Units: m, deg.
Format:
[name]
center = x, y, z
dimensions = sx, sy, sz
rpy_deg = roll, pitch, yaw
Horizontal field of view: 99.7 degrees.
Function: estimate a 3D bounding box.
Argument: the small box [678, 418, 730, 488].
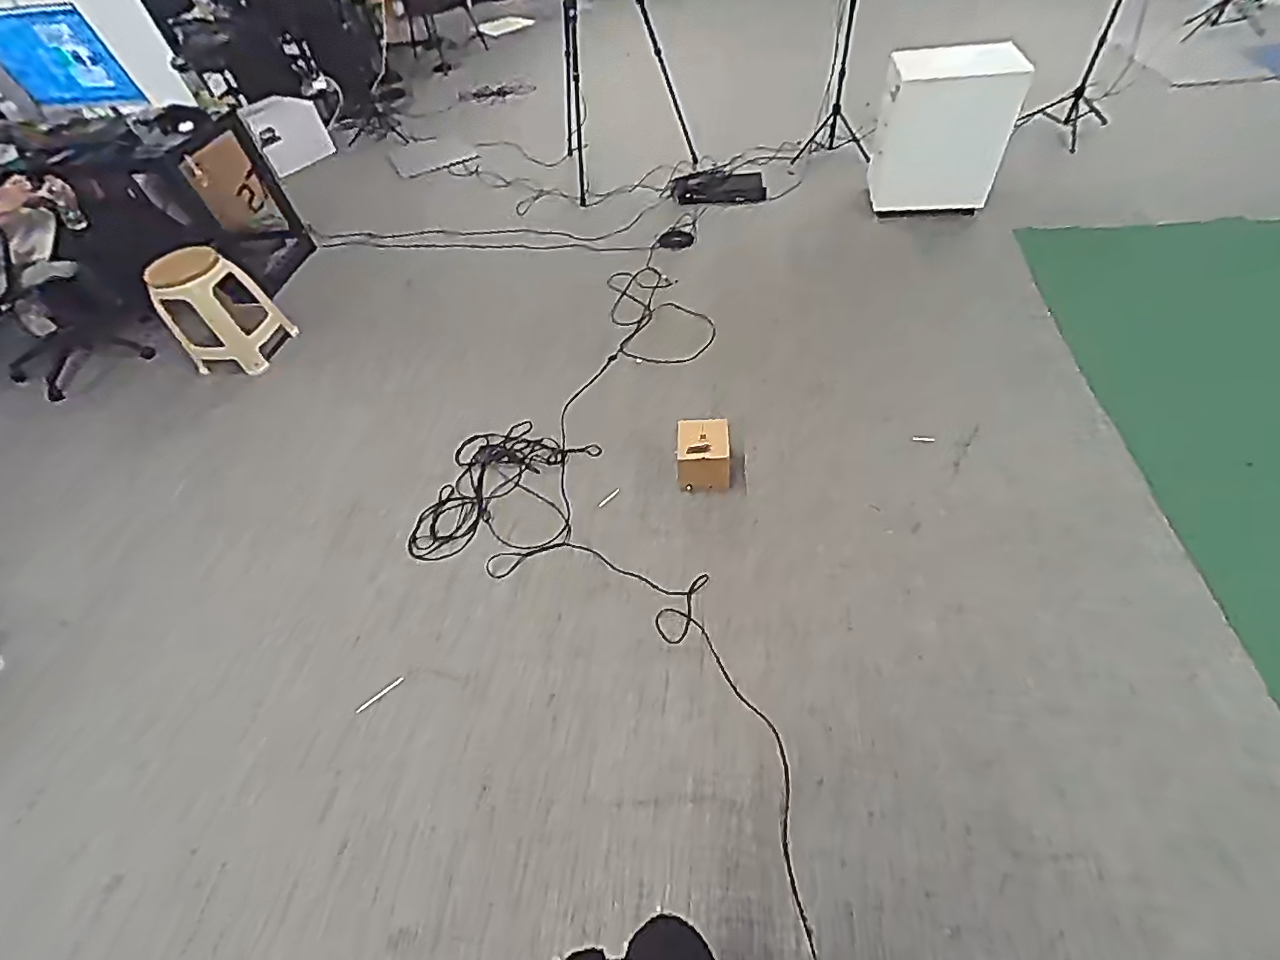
[small box]
center = 0.214, -0.084, 1.801
dimensions = 0.168, 0.176, 0.179
rpy_deg = -1, 51, 7
